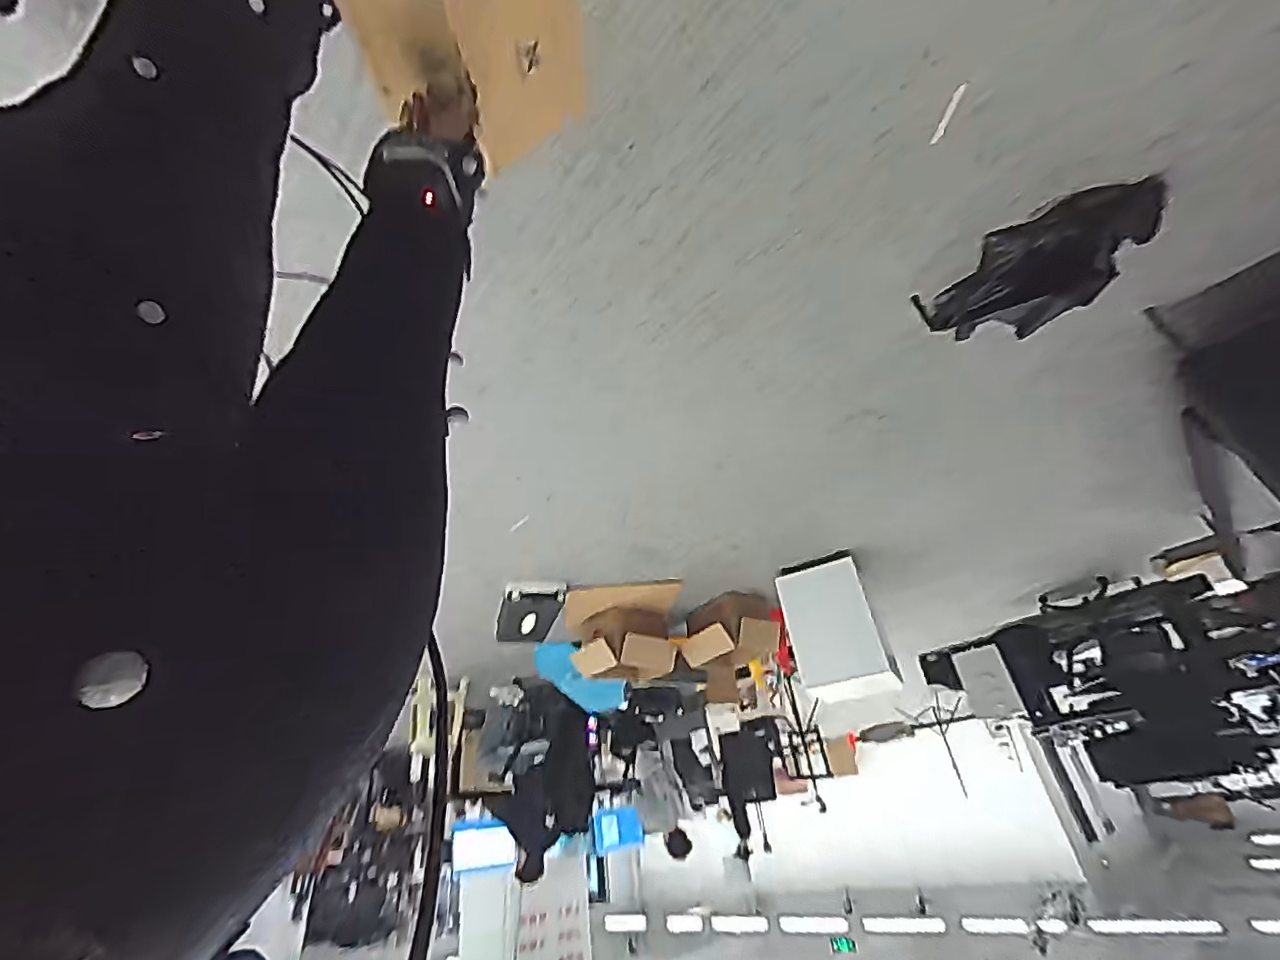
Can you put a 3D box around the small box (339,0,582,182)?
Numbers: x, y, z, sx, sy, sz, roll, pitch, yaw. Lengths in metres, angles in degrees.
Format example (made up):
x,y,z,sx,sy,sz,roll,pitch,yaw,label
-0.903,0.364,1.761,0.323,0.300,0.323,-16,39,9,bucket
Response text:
x,y,z,sx,sy,sz,roll,pitch,yaw,label
-0.186,-0.460,0.580,0.176,0.179,0.168,28,152,17,small box
